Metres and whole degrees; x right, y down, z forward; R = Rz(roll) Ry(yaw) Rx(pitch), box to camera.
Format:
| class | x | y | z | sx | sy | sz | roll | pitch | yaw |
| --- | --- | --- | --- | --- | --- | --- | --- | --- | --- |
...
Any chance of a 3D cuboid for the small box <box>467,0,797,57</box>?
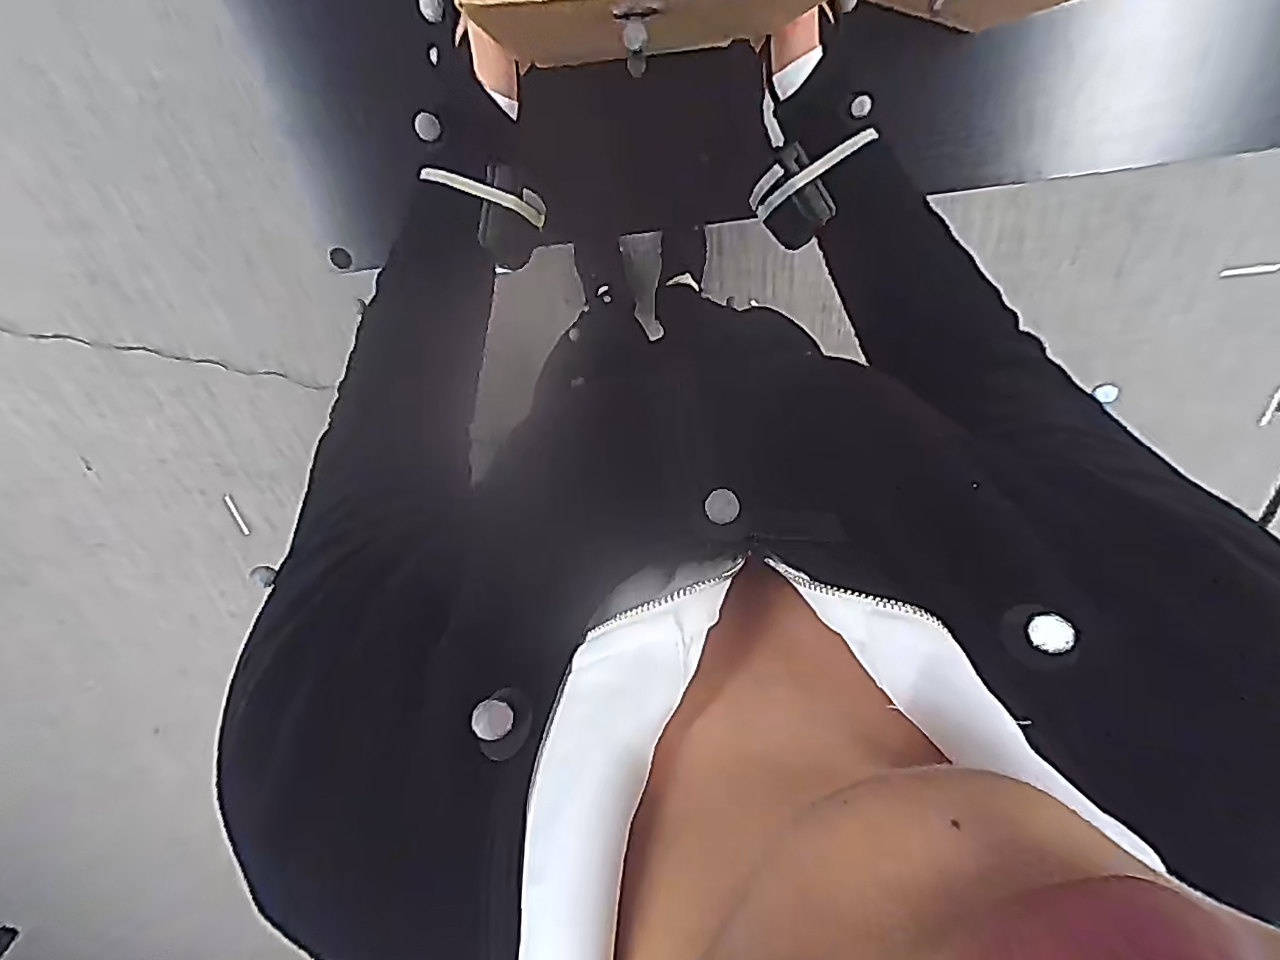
| class | x | y | z | sx | sy | sz | roll | pitch | yaw |
| --- | --- | --- | --- | --- | --- | --- | --- | --- | --- |
| small box | 0.000 | -0.313 | 0.249 | 0.179 | 0.176 | 0.168 | -6 | 122 | -1 |

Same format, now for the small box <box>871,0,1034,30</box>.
| class | x | y | z | sx | sy | sz | roll | pitch | yaw |
| --- | --- | --- | --- | --- | --- | --- | --- | --- | --- |
| small box | 0.276 | -0.496 | 0.428 | 0.168 | 0.176 | 0.179 | 8 | 119 | -9 |

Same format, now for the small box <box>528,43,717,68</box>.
| class | x | y | z | sx | sy | sz | roll | pitch | yaw |
| --- | --- | --- | --- | --- | --- | --- | --- | --- | --- |
| small box | -0.011 | -0.411 | 0.384 | 0.179 | 0.176 | 0.168 | -7 | 122 | -1 |
